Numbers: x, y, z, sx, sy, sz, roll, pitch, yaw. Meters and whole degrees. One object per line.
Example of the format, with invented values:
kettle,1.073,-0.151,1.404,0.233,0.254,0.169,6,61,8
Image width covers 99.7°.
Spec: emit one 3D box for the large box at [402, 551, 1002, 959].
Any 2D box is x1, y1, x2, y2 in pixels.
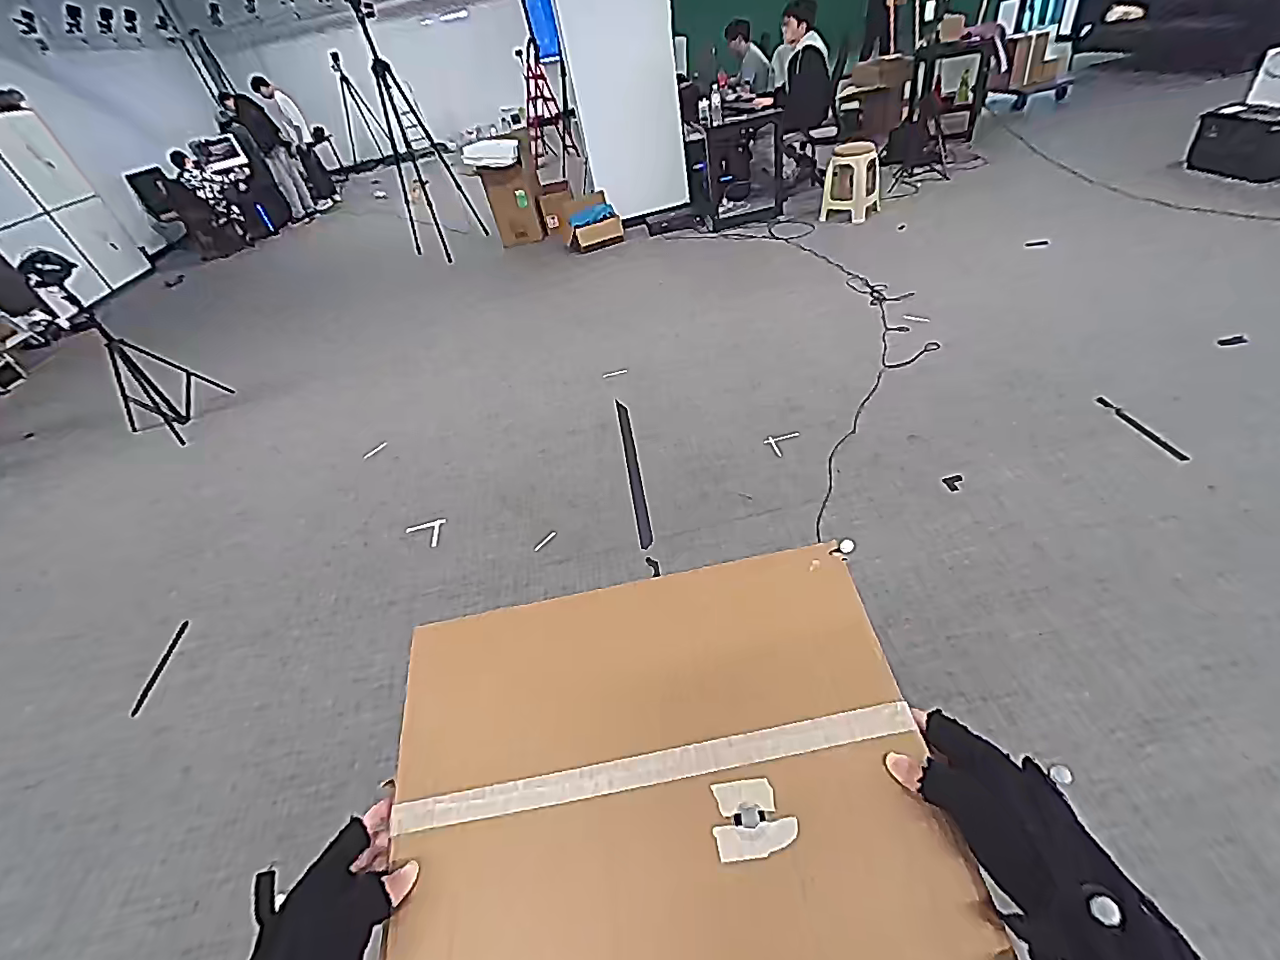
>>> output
large box,0.032,0.317,0.547,0.408,0.320,0.320,-12,54,1
